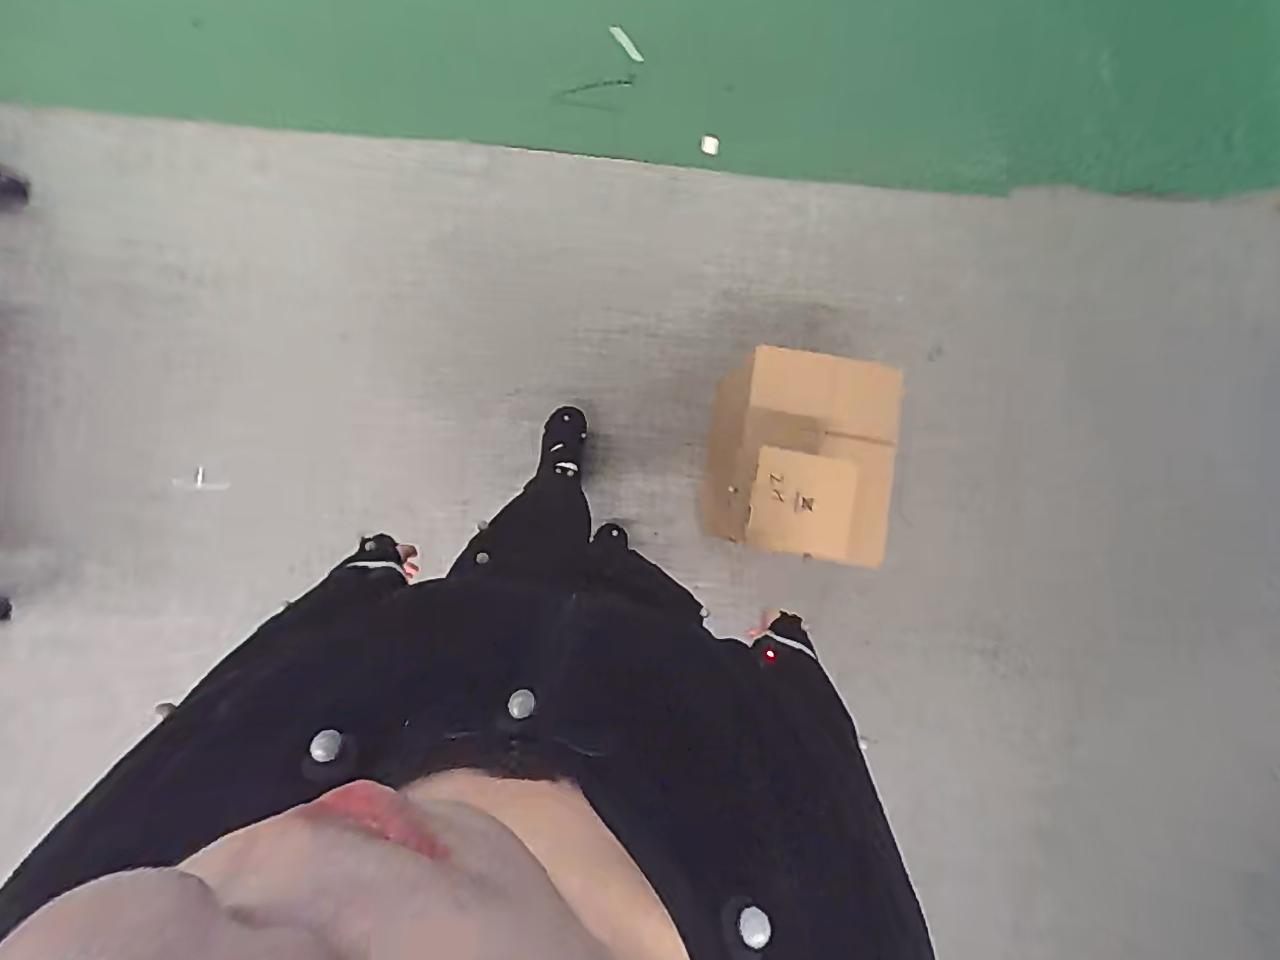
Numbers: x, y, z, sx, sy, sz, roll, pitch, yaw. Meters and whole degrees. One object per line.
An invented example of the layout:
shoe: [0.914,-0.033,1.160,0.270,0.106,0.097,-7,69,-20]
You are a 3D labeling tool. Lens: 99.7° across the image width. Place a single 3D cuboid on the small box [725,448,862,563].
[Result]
small box: [0.268,0.043,0.978,0.179,0.176,0.168,11,88,-3]
